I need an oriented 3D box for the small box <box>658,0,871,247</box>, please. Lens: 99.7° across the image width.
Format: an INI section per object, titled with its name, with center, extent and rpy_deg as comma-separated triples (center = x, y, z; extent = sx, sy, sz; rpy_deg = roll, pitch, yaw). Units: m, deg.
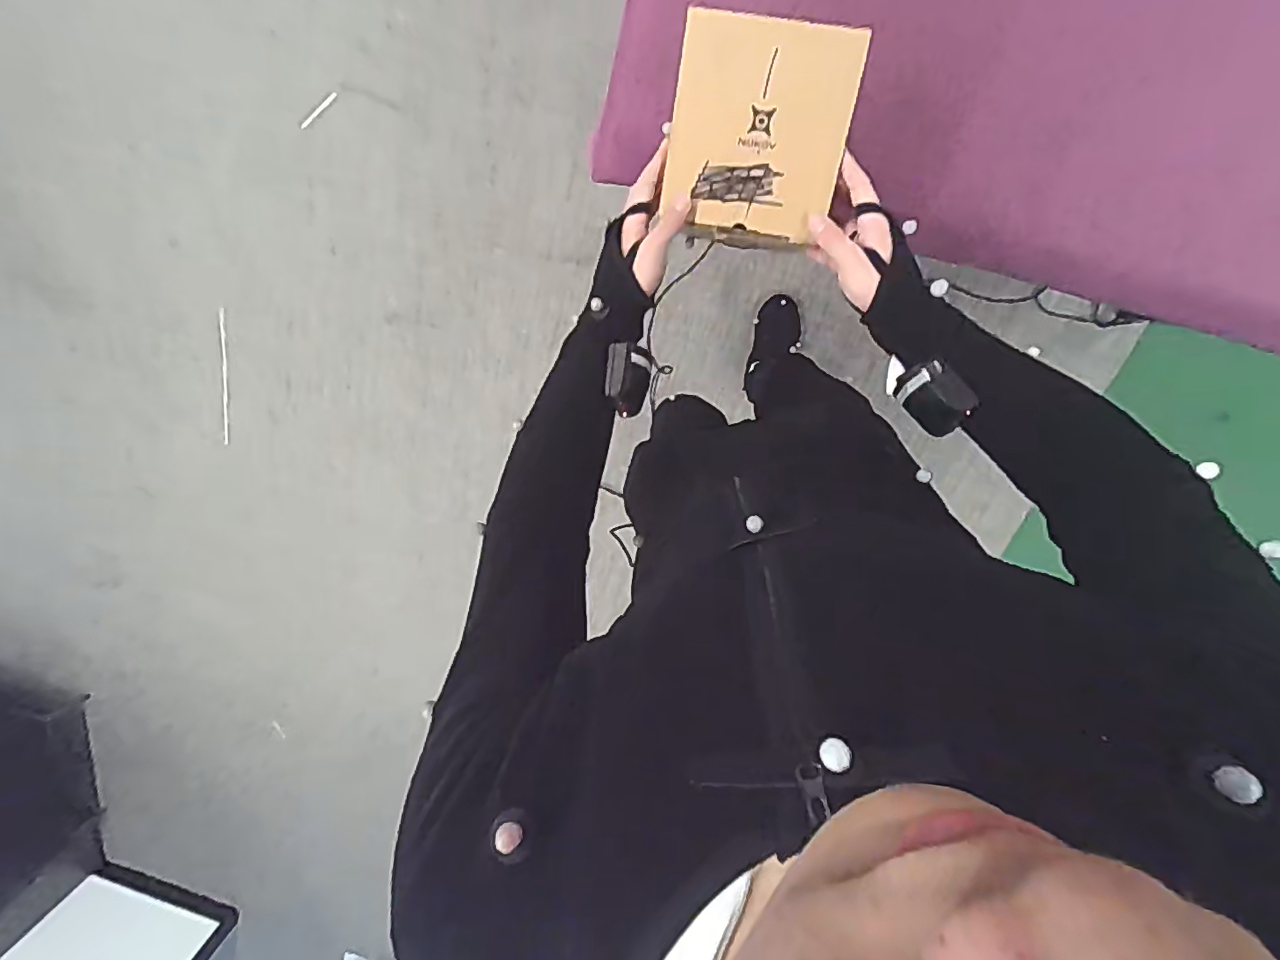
[small box]
center = 0.119, -0.356, 0.578
extent = 0.168, 0.176, 0.179
rpy_deg = 10, 110, 2
